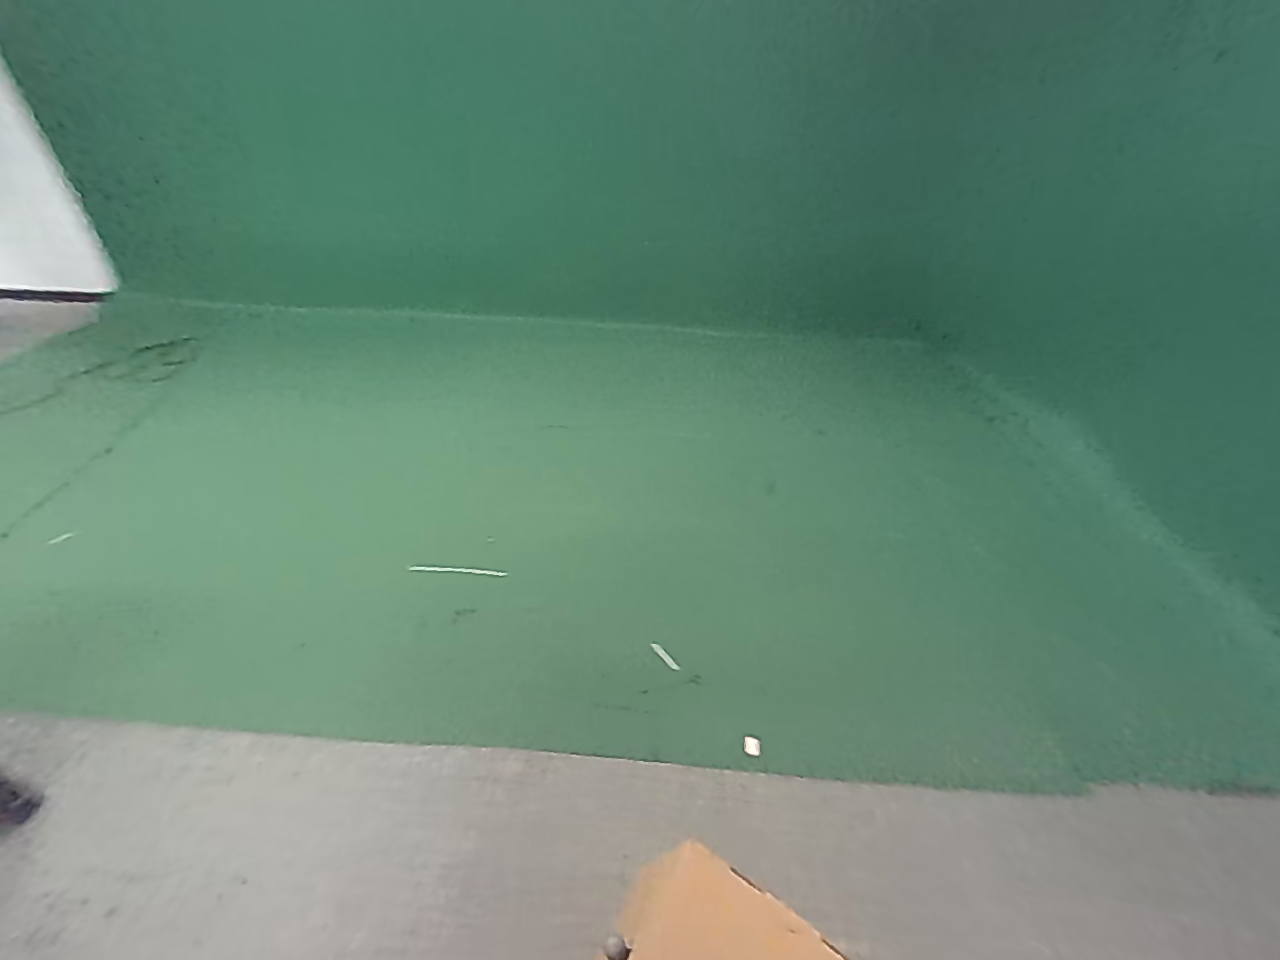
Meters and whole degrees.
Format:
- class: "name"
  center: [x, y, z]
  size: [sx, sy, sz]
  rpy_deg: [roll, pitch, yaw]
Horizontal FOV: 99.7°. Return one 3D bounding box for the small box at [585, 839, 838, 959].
- class: "small box"
  center: [0.036, 0.405, 0.383]
  size: [0.168, 0.176, 0.179]
  rpy_deg: [32, 48, 12]
